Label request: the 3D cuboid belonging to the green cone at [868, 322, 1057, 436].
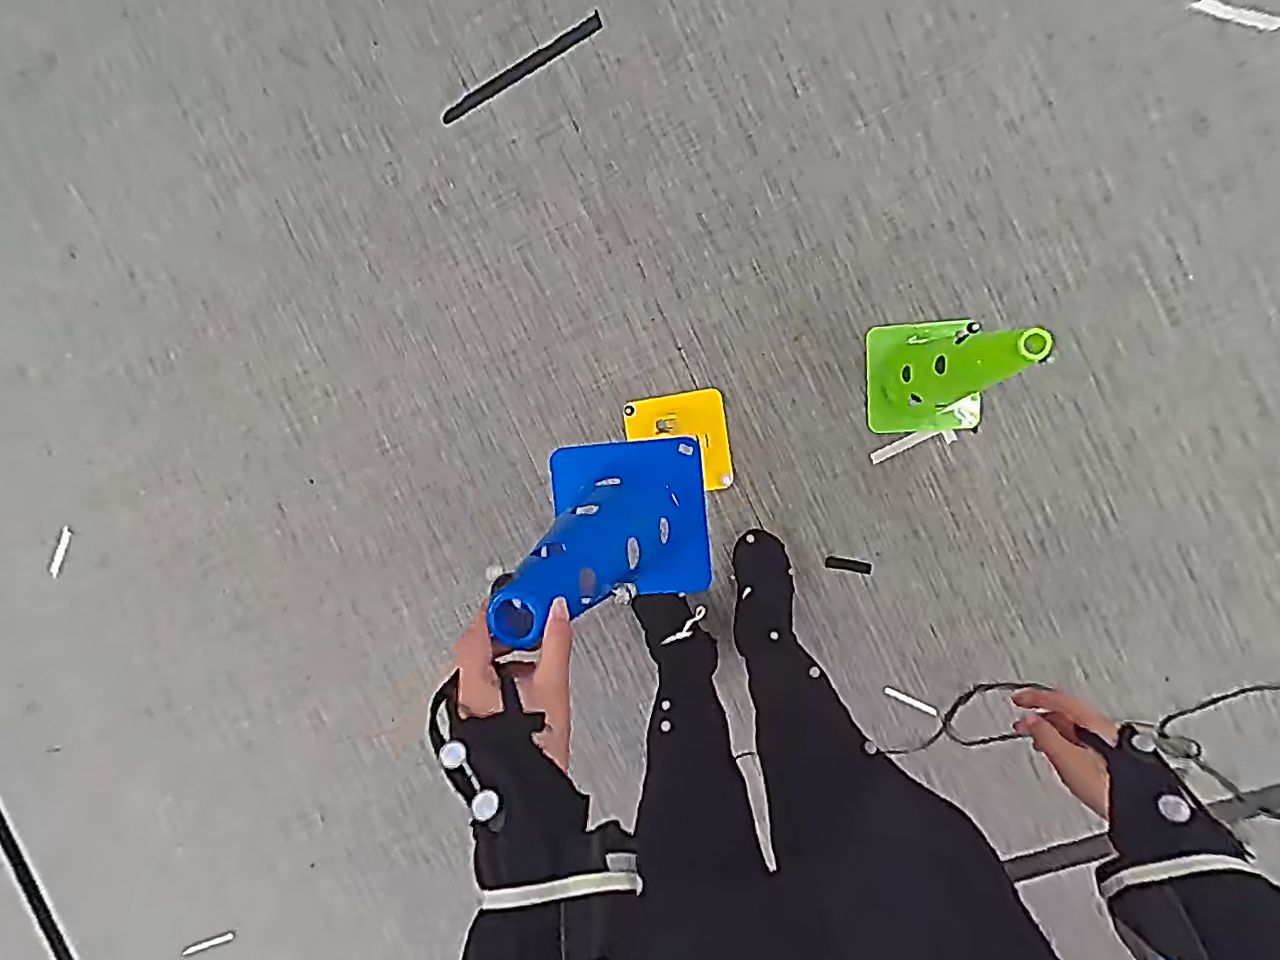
[{"bbox_3d":[0.508,-0.173,0.836,0.200,0.368,0.202,-3,94,8],"label":"green cone"}]
